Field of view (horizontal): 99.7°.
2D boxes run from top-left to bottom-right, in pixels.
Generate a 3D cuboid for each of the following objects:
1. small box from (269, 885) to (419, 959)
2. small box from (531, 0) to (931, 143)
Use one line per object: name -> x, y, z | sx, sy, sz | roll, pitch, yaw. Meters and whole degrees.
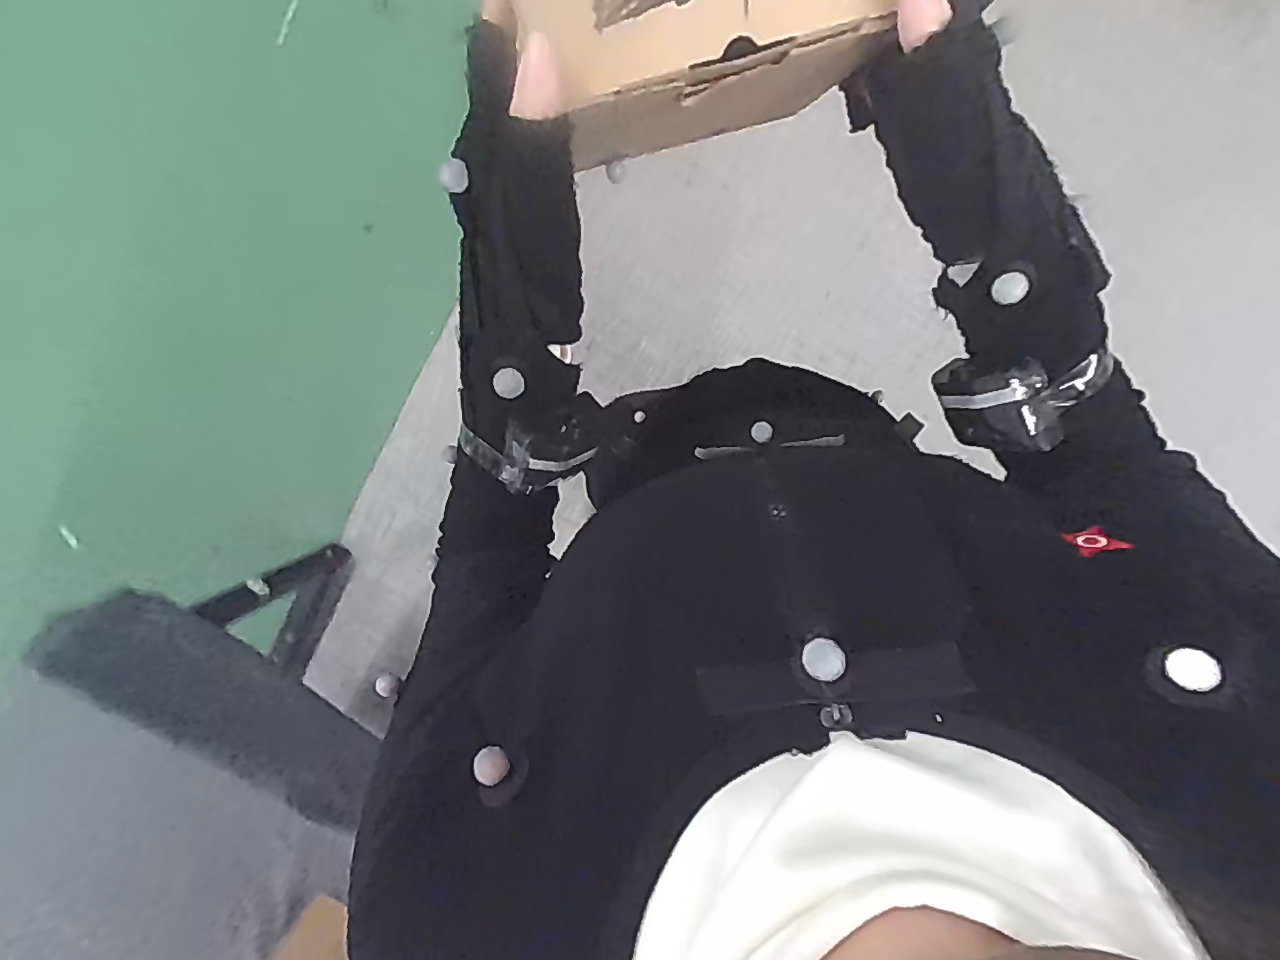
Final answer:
small box -> -0.451, 0.735, 0.770 | 0.179, 0.176, 0.168 | 28, 102, 0
small box -> 0.022, -0.286, 0.264 | 0.168, 0.176, 0.179 | -13, 112, 1
